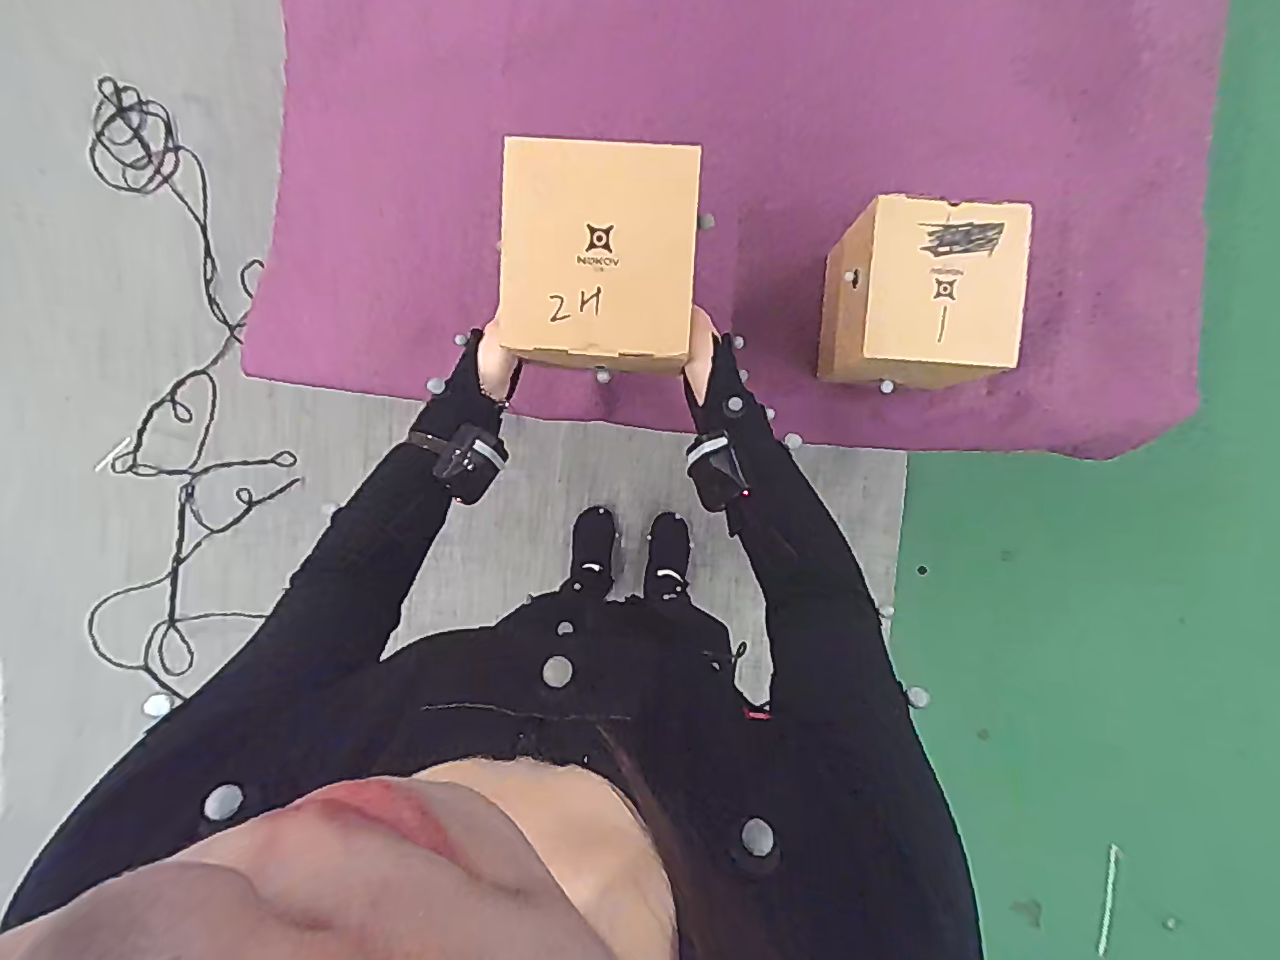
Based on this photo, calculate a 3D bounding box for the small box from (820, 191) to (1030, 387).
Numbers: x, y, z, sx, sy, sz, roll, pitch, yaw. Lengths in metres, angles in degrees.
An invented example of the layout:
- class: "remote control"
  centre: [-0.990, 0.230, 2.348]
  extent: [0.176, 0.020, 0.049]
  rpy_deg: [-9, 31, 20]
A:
- class: "small box"
  centre: [0.329, -0.218, 0.658]
  extent: [0.168, 0.176, 0.179]
  rpy_deg: [4, 92, 1]

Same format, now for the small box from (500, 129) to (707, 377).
- class: "small box"
  centre: [-0.031, -0.203, 0.529]
  extent: [0.168, 0.176, 0.179]
  rpy_deg: [4, 95, 1]
